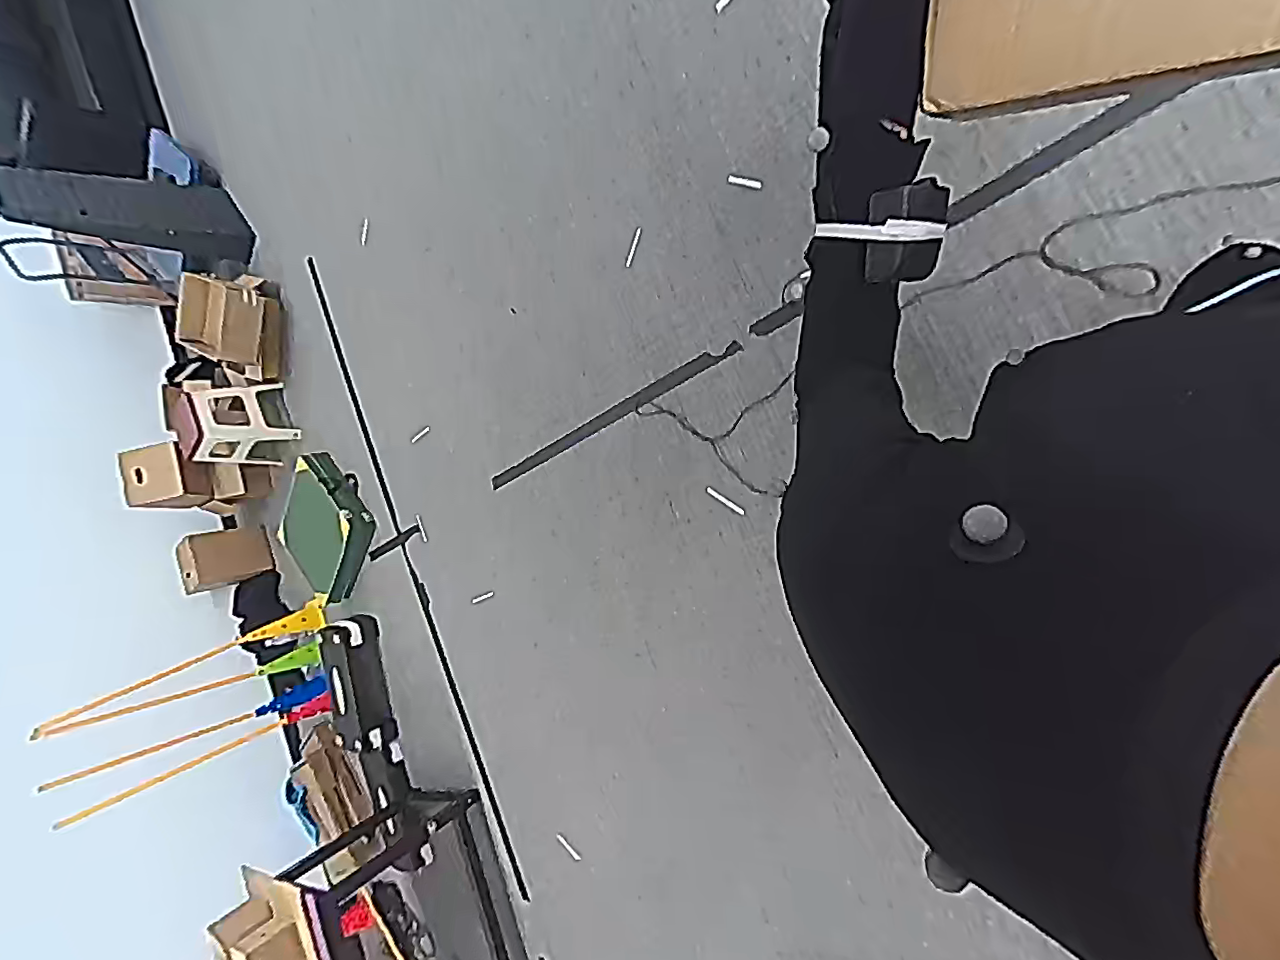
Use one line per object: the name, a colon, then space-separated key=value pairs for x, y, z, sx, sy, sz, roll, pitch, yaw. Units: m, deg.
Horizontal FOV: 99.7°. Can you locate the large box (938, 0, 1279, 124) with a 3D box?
large box: x=0.424 y=-0.441 z=0.326 sx=0.408 sy=0.320 sz=0.320 roll=7 pitch=123 yaw=29
